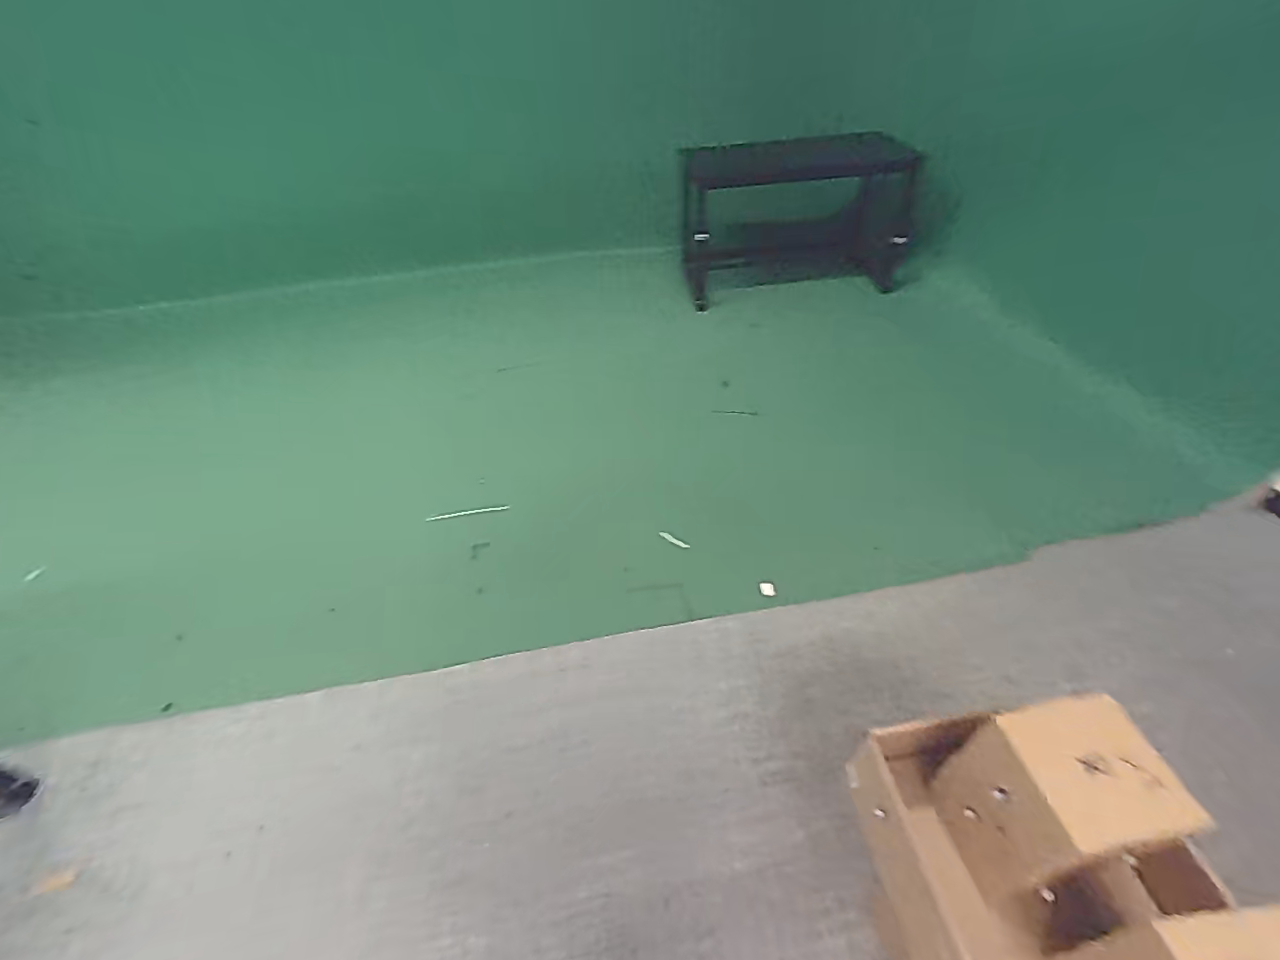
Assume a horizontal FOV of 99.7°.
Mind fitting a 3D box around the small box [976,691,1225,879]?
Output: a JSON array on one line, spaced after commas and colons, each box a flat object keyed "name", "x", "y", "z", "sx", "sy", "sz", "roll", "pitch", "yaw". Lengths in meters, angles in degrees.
[{"name": "small box", "x": 0.597, "y": 0.418, "z": 0.739, "sx": 0.179, "sy": 0.176, "sz": 0.168, "roll": -9, "pitch": 43, "yaw": -3}]
